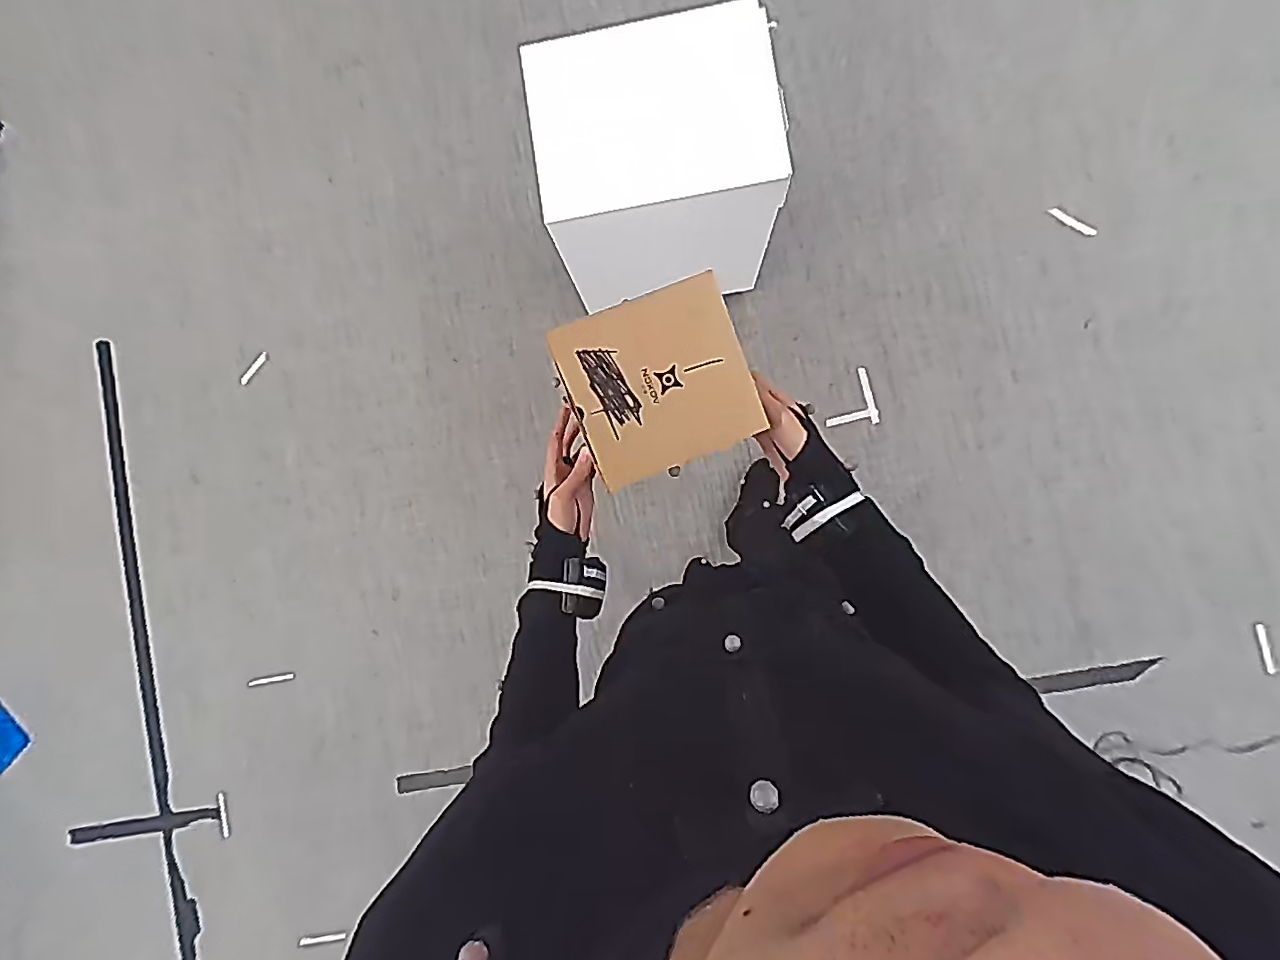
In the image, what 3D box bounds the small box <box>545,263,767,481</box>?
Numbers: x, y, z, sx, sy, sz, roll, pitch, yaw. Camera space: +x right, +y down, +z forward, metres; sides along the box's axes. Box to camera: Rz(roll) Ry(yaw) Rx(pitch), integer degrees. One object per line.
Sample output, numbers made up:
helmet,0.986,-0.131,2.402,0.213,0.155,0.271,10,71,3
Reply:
small box,0.010,-0.108,0.600,0.179,0.176,0.168,-22,97,-5
